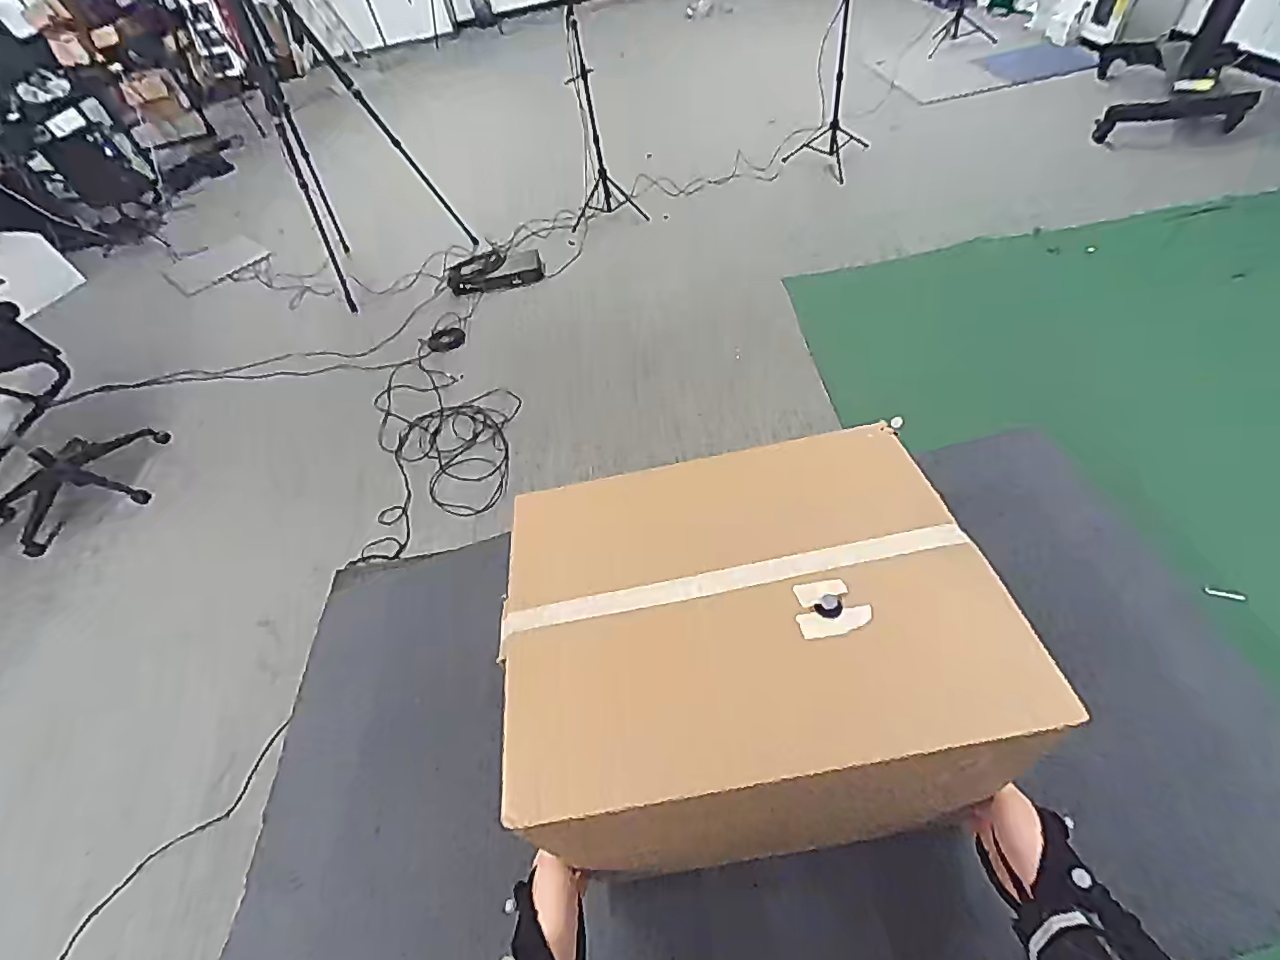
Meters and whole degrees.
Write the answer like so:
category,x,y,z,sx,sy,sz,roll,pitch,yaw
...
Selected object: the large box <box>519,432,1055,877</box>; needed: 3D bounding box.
category,x,y,z,sx,sy,sz,roll,pitch,yaw
large box,0.105,0.196,0.595,0.408,0.320,0.320,-11,47,1
